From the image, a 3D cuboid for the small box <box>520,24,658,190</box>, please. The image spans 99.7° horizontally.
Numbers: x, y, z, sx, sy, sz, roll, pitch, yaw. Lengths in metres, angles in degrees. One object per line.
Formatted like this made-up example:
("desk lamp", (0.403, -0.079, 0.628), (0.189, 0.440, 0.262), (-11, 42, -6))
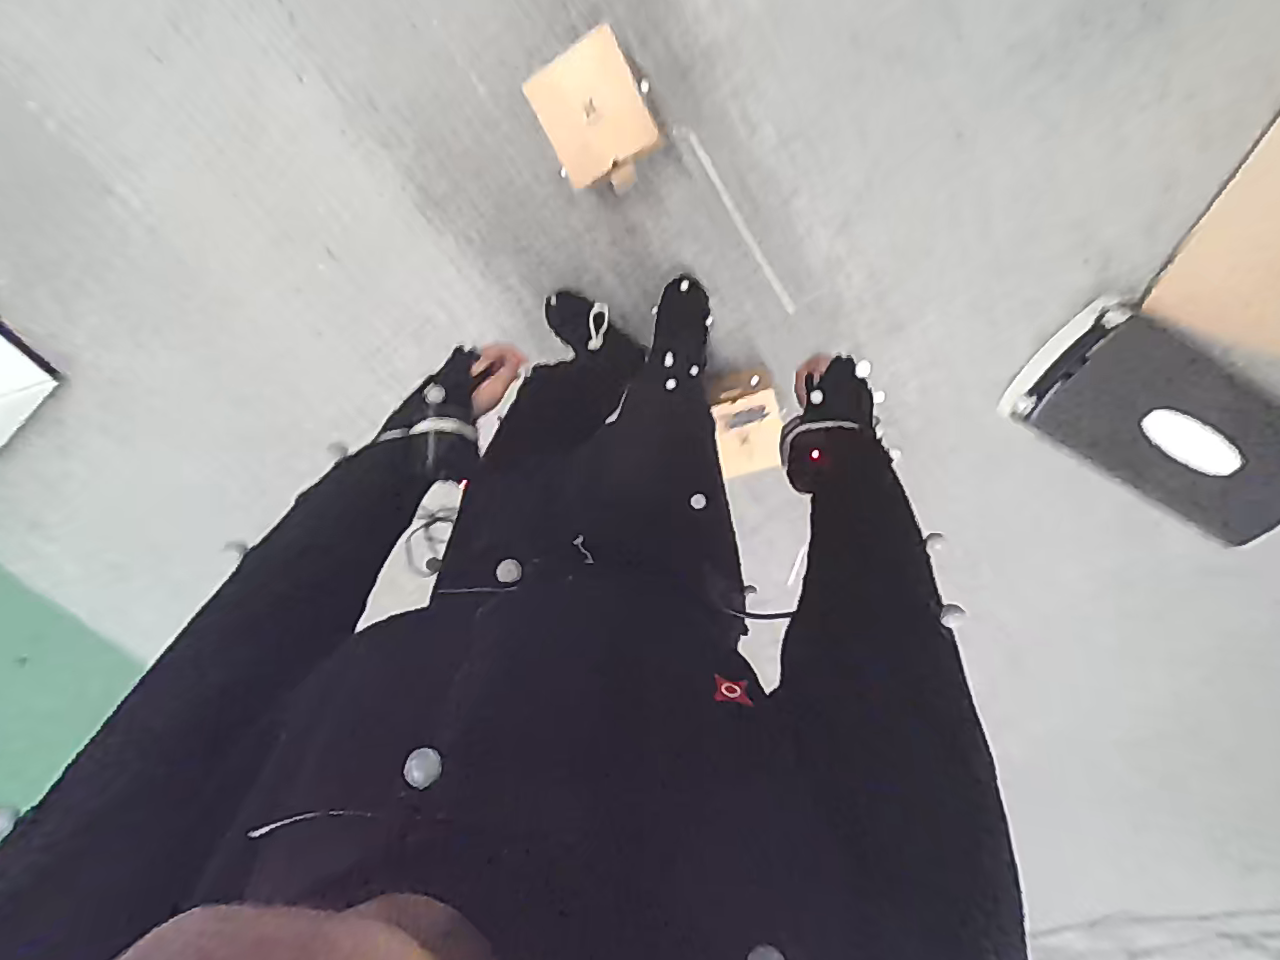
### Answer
("small box", (-0.079, -0.636, 0.946), (0.168, 0.176, 0.179), (-23, 116, 18))
